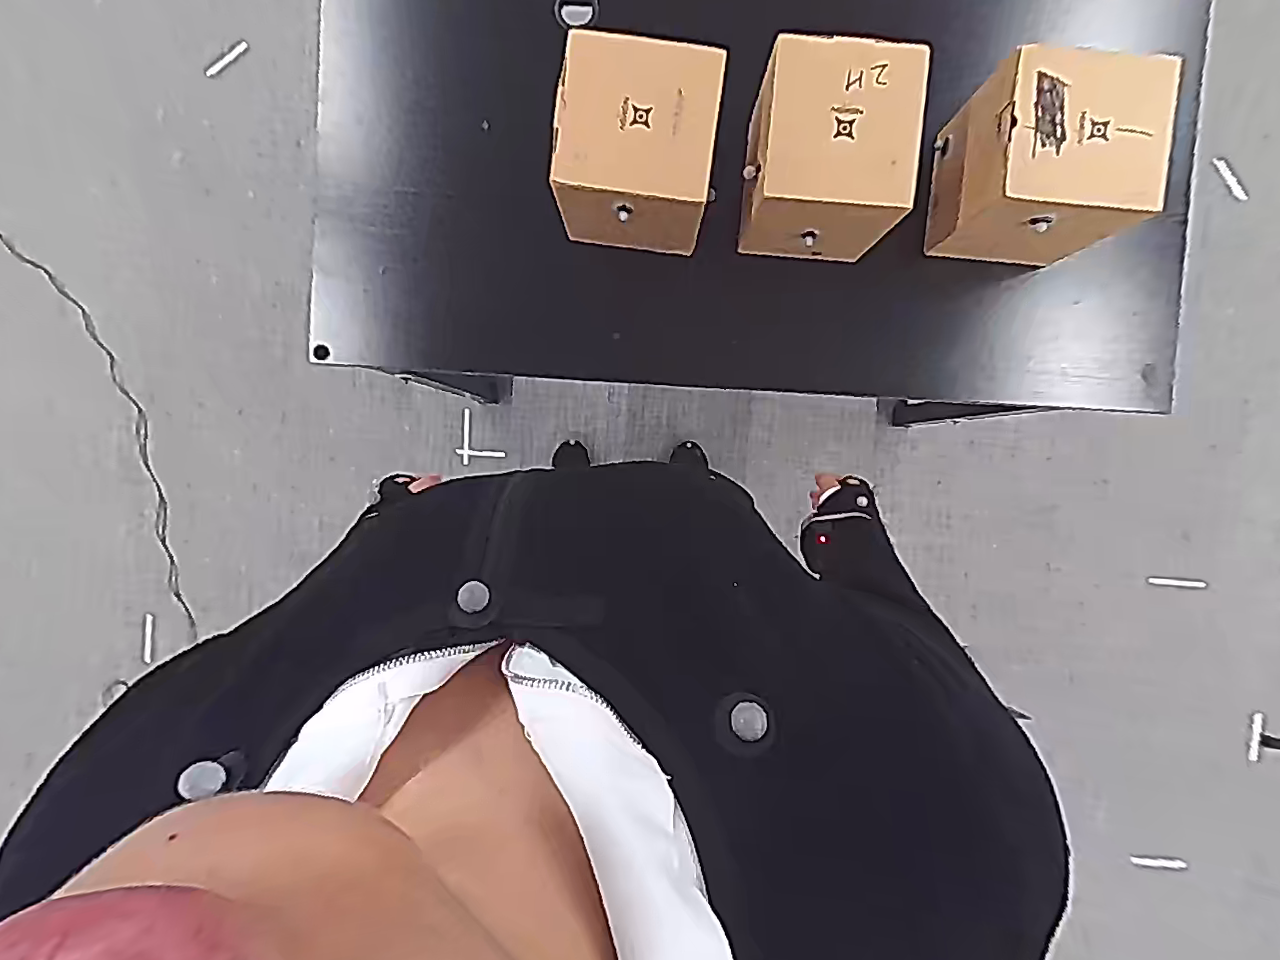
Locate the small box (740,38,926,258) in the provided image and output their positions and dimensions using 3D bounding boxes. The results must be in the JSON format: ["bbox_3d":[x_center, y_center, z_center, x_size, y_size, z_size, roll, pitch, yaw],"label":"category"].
[{"bbox_3d":[0.225,-0.396,0.676,0.168,0.176,0.179,5,92,0],"label":"small box"}]

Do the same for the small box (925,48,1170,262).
[{"bbox_3d":[0.486,-0.387,0.674,0.179,0.176,0.168,6,92,0],"label":"small box"}]
